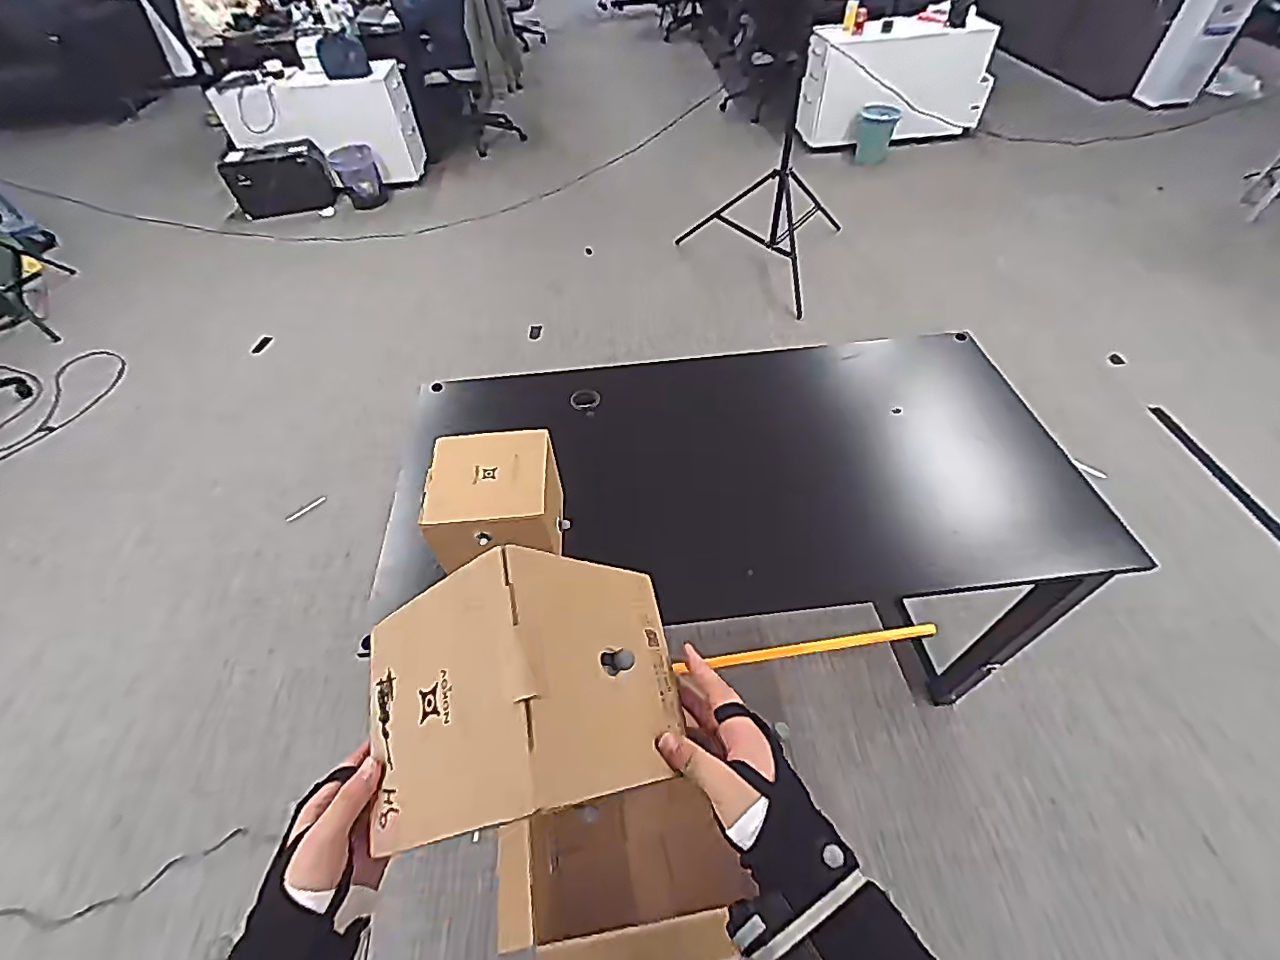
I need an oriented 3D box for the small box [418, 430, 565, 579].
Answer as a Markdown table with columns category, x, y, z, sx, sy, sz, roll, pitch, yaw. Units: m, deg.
| category | x | y | z | sx | sy | sz | roll | pitch | yaw |
| --- | --- | --- | --- | --- | --- | --- | --- | --- | --- |
| small box | -0.218 | 0.043 | 0.843 | 0.179 | 0.176 | 0.168 | -5 | 52 | -2 |
